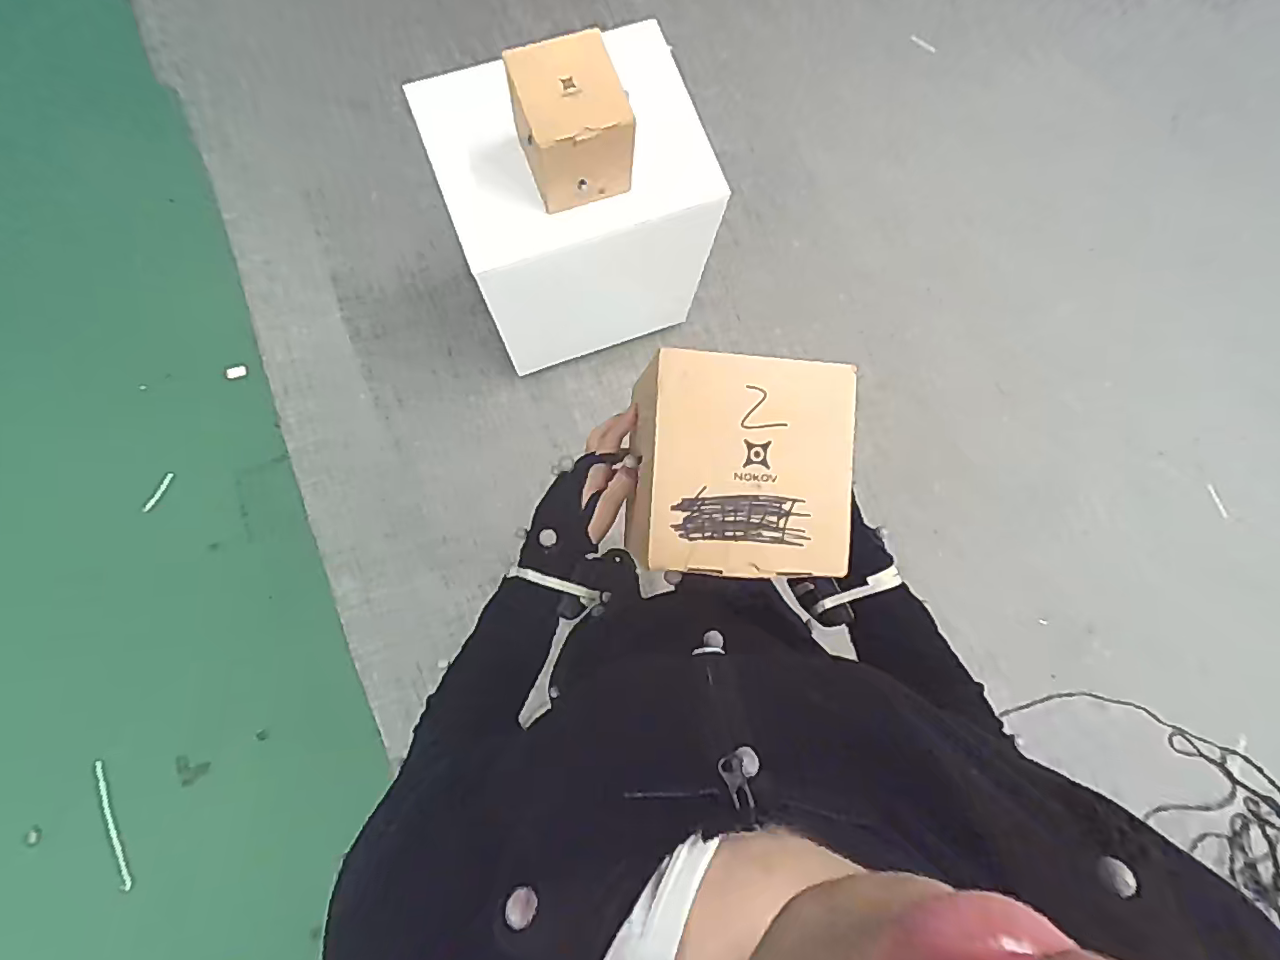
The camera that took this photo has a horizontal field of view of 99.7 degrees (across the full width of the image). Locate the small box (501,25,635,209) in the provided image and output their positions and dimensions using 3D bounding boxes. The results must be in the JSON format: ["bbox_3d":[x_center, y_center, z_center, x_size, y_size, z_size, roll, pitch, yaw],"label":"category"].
[{"bbox_3d":[-0.119,-0.601,0.911,0.168,0.176,0.179,-21,83,-7],"label":"small box"}]
